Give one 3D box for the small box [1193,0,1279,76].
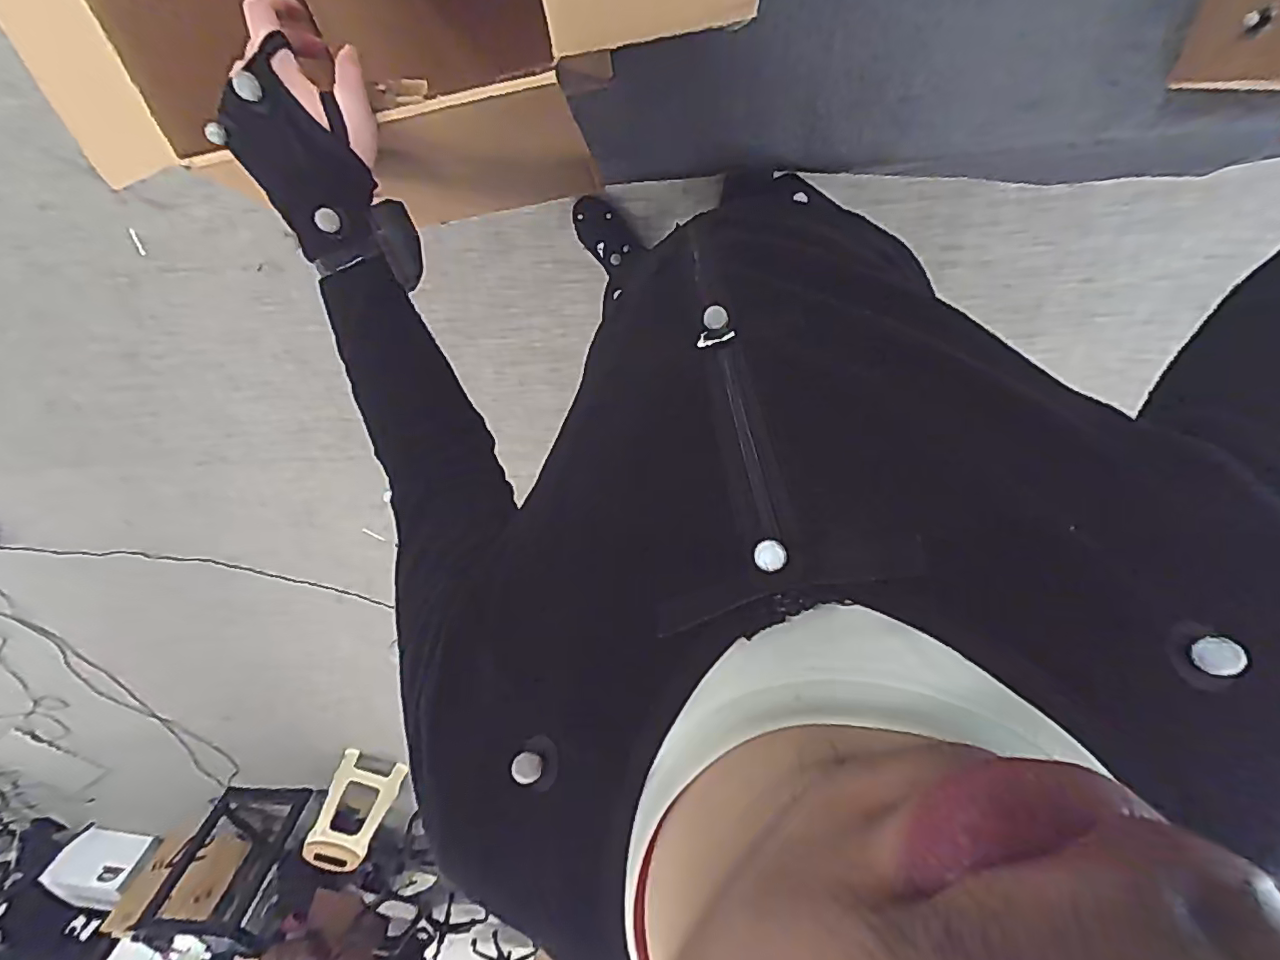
[{"bbox_3d":[0.631,-0.442,0.444,0.168,0.176,0.179,4,124,4],"label":"small box"}]
